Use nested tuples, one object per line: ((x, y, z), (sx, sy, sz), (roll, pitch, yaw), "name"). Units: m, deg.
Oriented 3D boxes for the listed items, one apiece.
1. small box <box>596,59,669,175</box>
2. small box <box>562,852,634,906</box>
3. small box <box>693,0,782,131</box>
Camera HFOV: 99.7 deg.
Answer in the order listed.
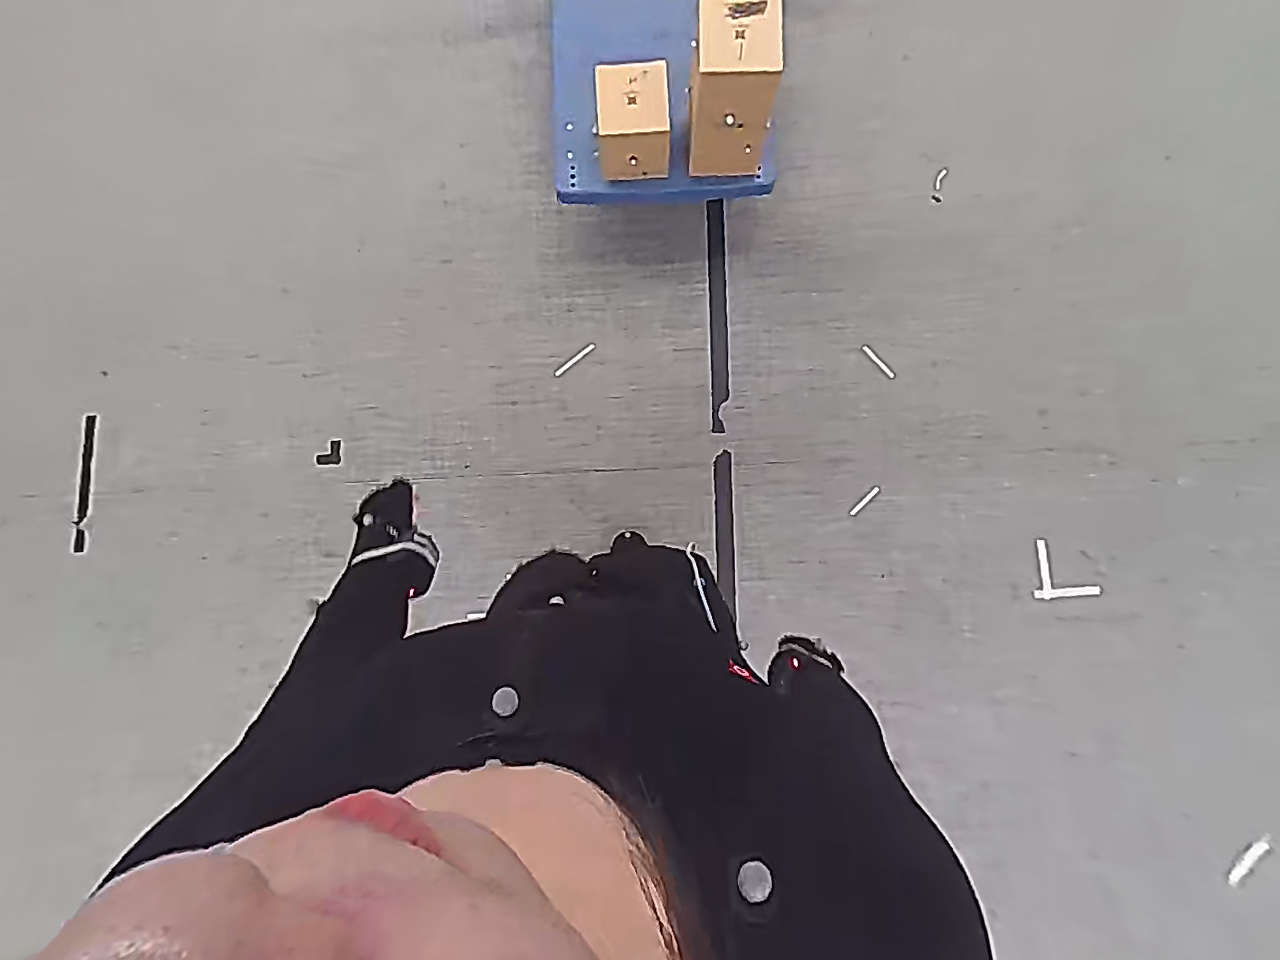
((-0.015, -0.872, 1.318), (0.168, 0.176, 0.179), (-3, 85, 1), "small box")
((-0.101, 1.077, 1.357), (0.168, 0.176, 0.179), (-1, 85, 1), "small box")
((0.200, -0.884, 1.148), (0.168, 0.176, 0.179), (0, 86, 1), "small box")
